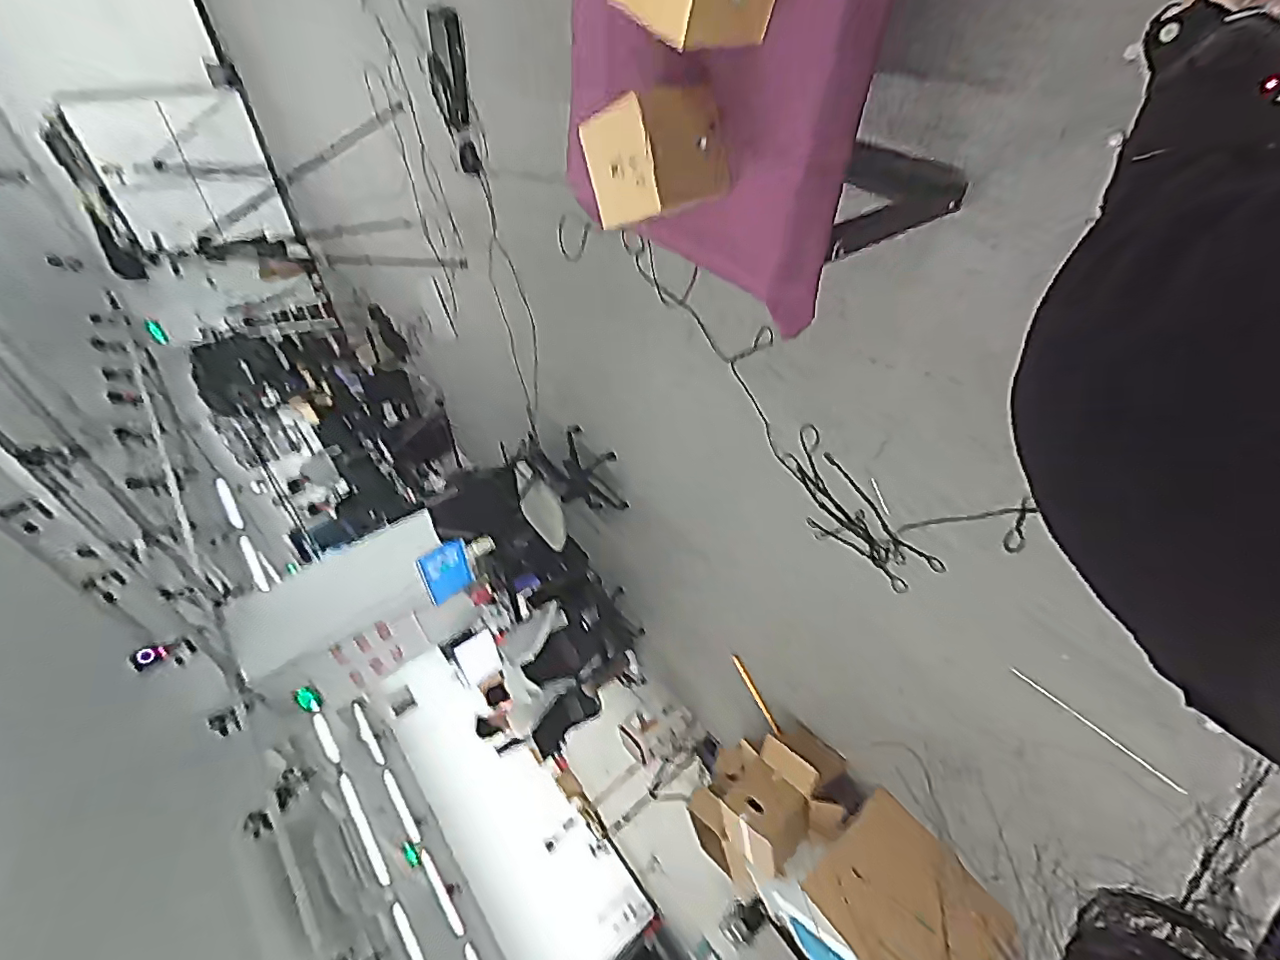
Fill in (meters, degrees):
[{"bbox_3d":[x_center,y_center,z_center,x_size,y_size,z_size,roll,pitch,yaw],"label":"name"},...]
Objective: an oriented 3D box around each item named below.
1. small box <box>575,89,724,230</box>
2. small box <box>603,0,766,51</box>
[{"bbox_3d":[0.018,-0.552,0.942,0.179,0.176,0.168,16,129,51],"label":"small box"},{"bbox_3d":[0.074,-0.709,0.718,0.179,0.176,0.168,49,150,21],"label":"small box"}]
